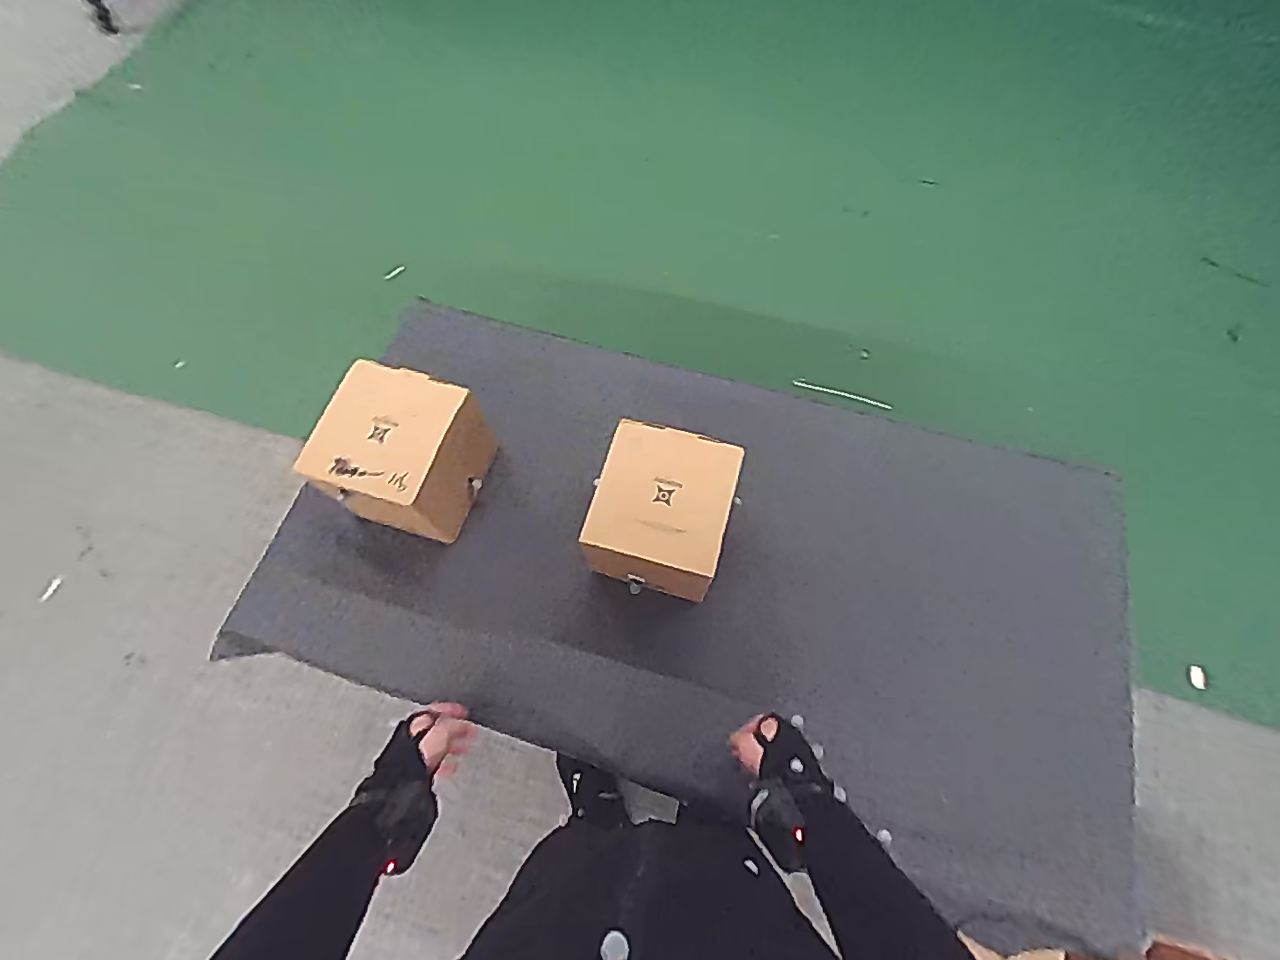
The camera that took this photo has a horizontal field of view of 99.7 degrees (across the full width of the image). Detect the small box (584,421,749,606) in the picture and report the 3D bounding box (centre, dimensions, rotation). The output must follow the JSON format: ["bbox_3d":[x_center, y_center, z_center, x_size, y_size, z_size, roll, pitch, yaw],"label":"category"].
[{"bbox_3d":[0.035,0.051,0.721,0.168,0.176,0.179,15,68,7],"label":"small box"}]

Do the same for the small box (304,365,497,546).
[{"bbox_3d":[-0.321,-0.028,0.773,0.168,0.176,0.179,17,67,8],"label":"small box"}]
